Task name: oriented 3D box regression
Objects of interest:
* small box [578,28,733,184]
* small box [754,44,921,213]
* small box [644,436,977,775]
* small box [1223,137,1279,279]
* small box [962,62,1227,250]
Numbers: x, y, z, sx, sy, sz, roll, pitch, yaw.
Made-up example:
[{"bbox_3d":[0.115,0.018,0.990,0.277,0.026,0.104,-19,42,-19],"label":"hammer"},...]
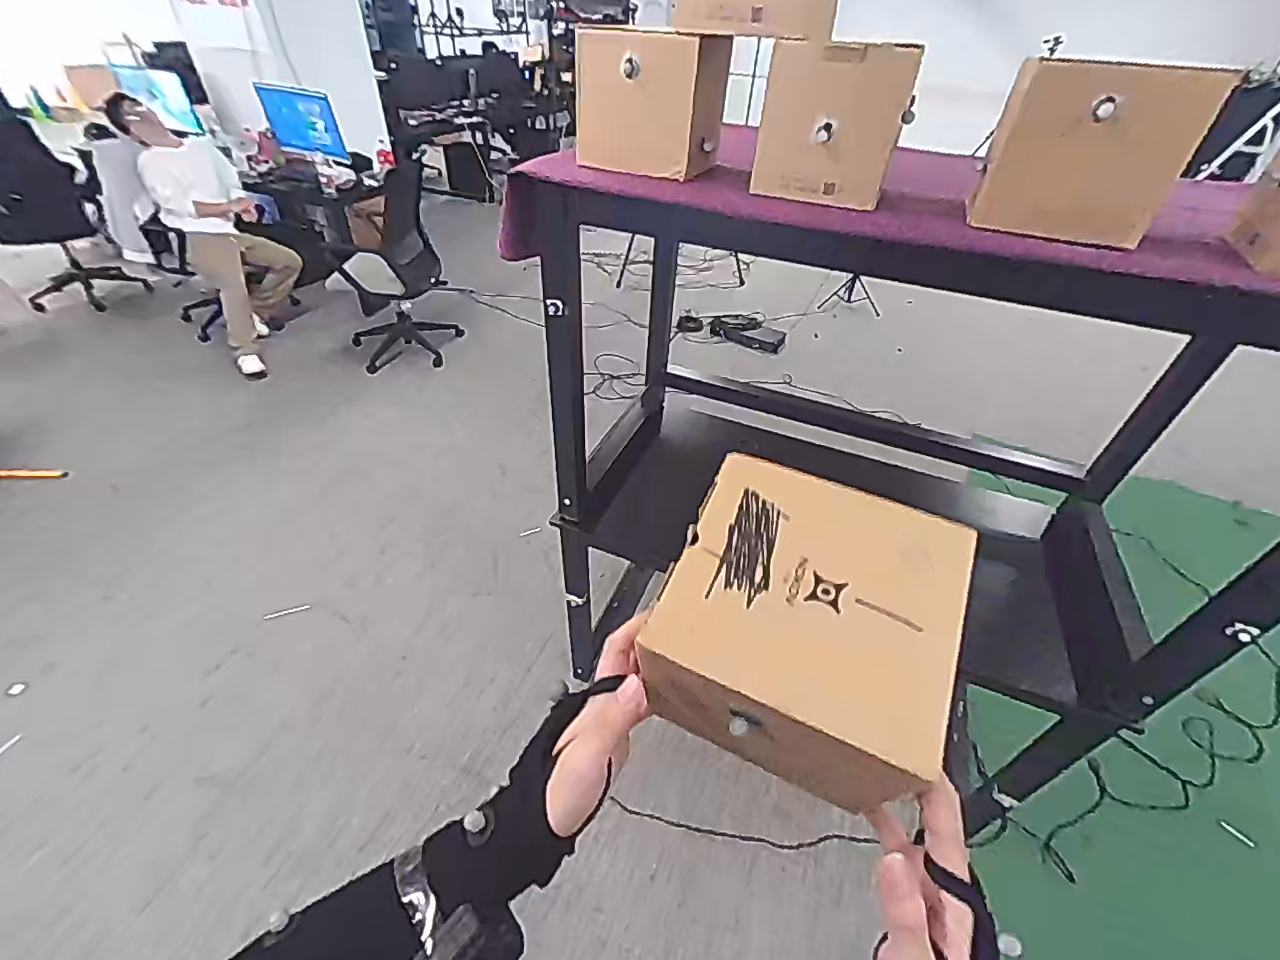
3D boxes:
[{"bbox_3d":[0.022,-0.553,0.802,0.179,0.176,0.168,18,43,14],"label":"small box"},{"bbox_3d":[0.260,-0.475,0.730,0.168,0.176,0.179,18,42,16],"label":"small box"},{"bbox_3d":[0.119,0.099,0.413,0.179,0.176,0.168,20,58,18],"label":"small box"},{"bbox_3d":[0.779,-0.304,0.566,0.179,0.176,0.168,20,44,19],"label":"small box"},{"bbox_3d":[0.519,-0.391,0.652,0.179,0.176,0.168,17,41,17],"label":"small box"}]
